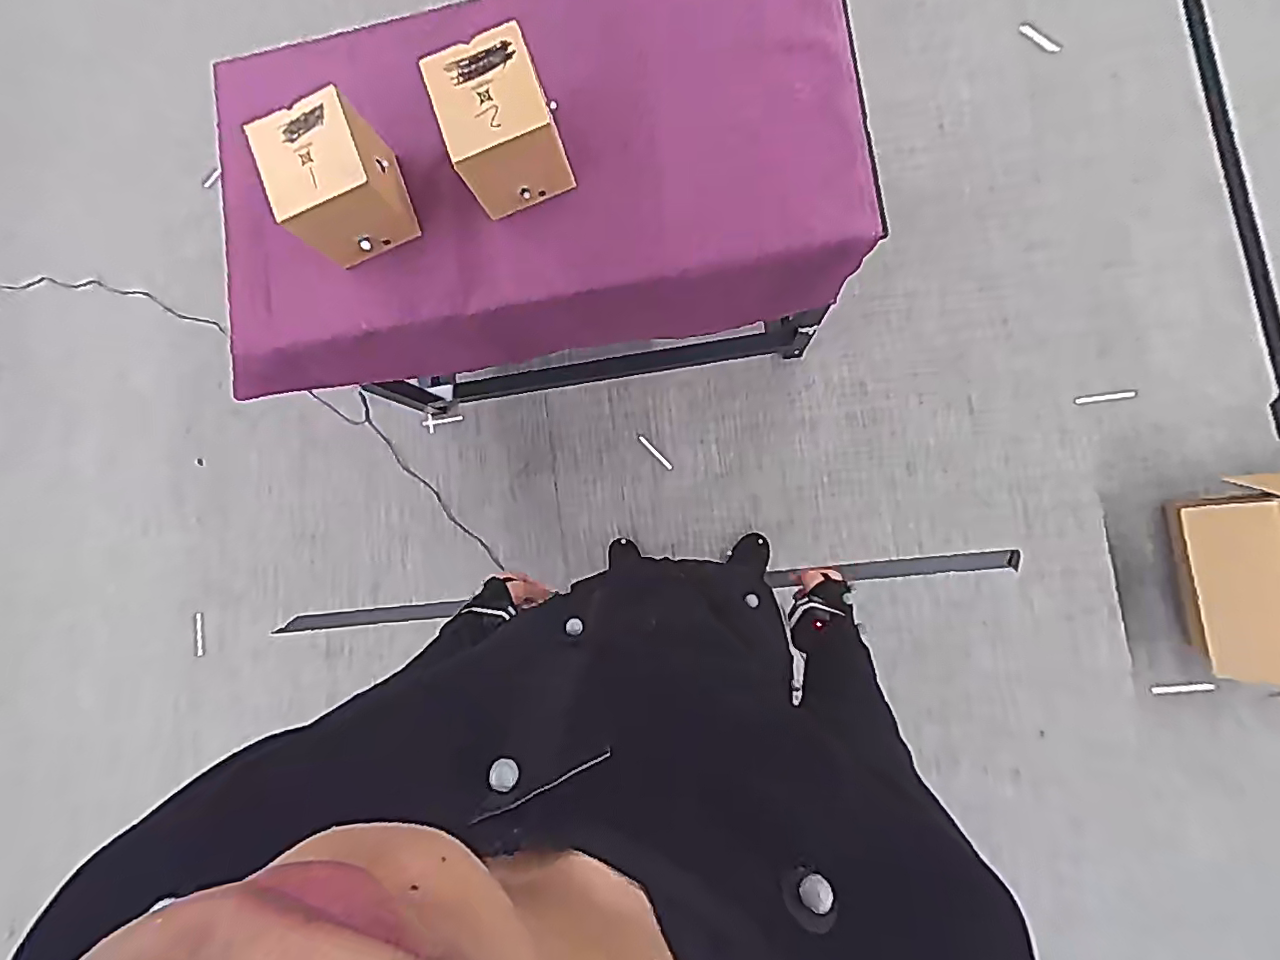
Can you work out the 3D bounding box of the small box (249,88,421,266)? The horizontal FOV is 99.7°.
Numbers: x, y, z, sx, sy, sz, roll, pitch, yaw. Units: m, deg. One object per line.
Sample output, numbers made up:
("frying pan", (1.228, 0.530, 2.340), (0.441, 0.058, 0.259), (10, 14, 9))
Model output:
("small box", (-0.511, -0.506, 0.927), (0.168, 0.176, 0.179), (-21, 85, 6))
